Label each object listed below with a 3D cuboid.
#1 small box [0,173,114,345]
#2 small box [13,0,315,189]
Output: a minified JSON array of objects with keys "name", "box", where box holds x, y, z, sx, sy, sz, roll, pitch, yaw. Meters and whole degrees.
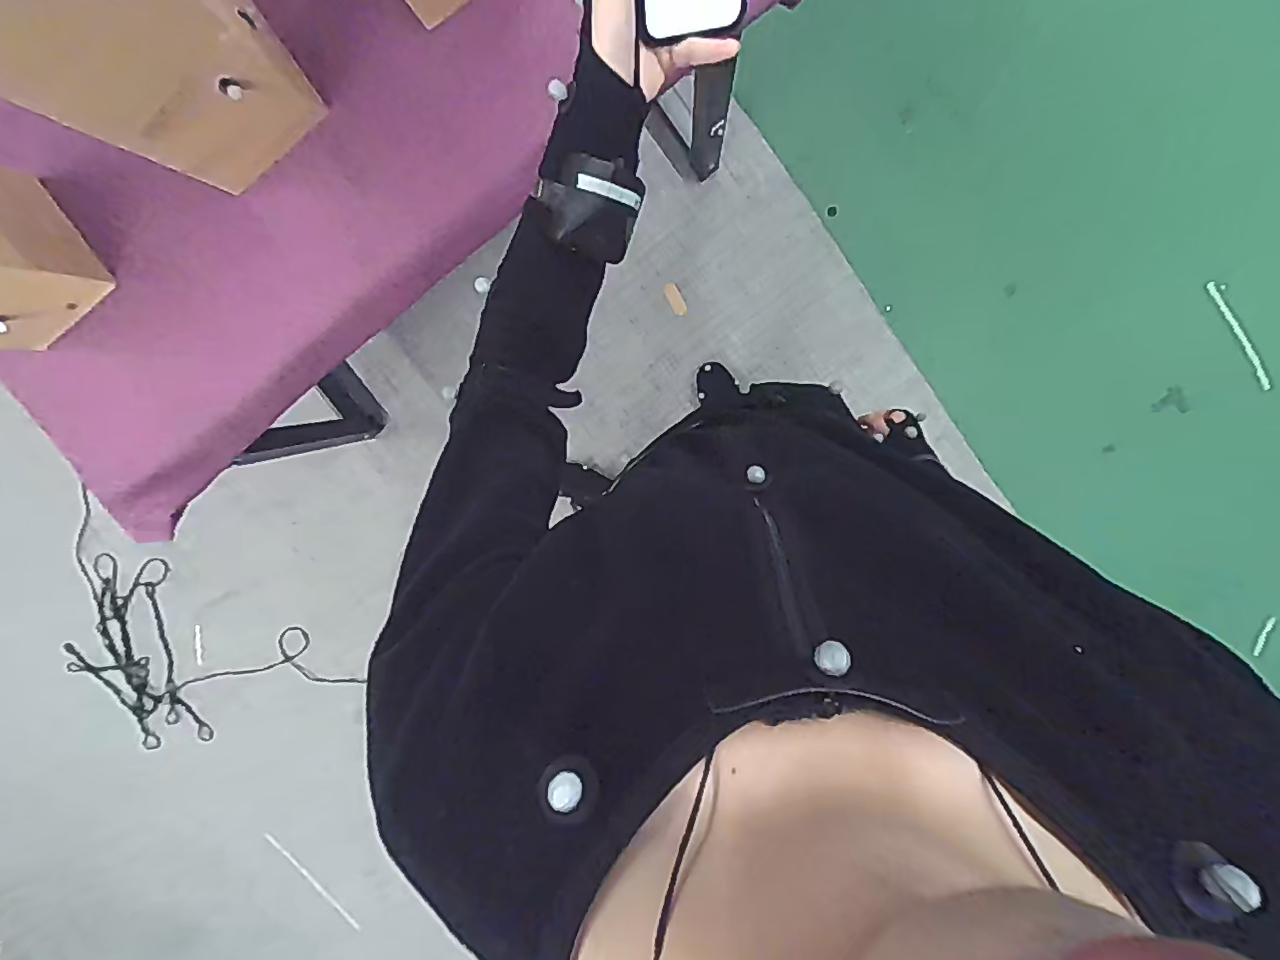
[{"name":"small box","box":[-0.853,-0.287,0.691,0.168,0.176,0.179,-33,96,10]},{"name":"small box","box":[-0.520,-0.483,0.626,0.179,0.176,0.168,-34,96,10]}]
